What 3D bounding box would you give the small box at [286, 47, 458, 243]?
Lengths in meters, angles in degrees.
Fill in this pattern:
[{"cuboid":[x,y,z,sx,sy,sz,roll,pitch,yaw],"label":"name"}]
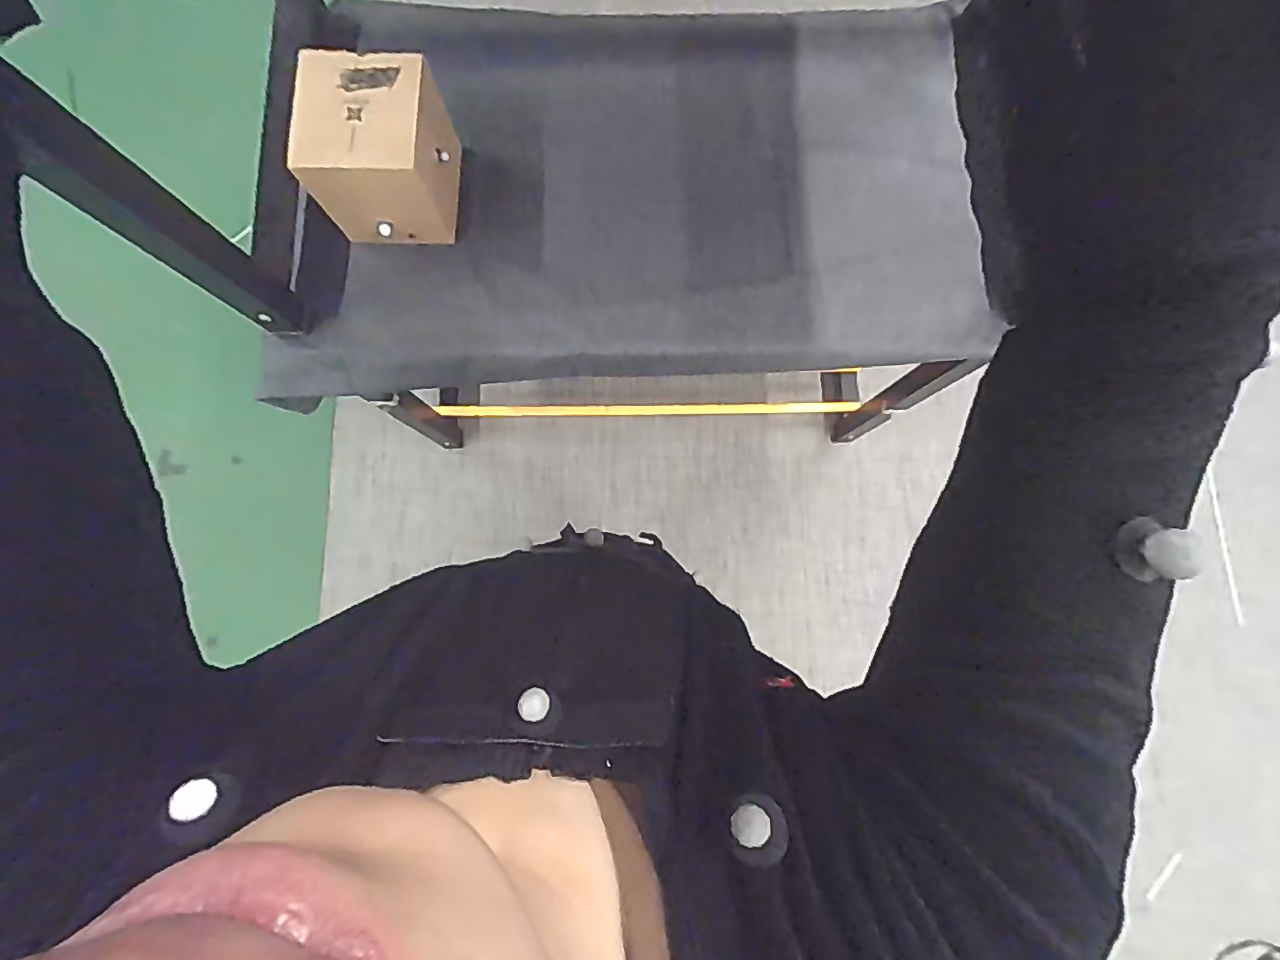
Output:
[{"cuboid":[-0.373,-0.475,0.785,0.168,0.176,0.179,0,82,-1],"label":"small box"}]
